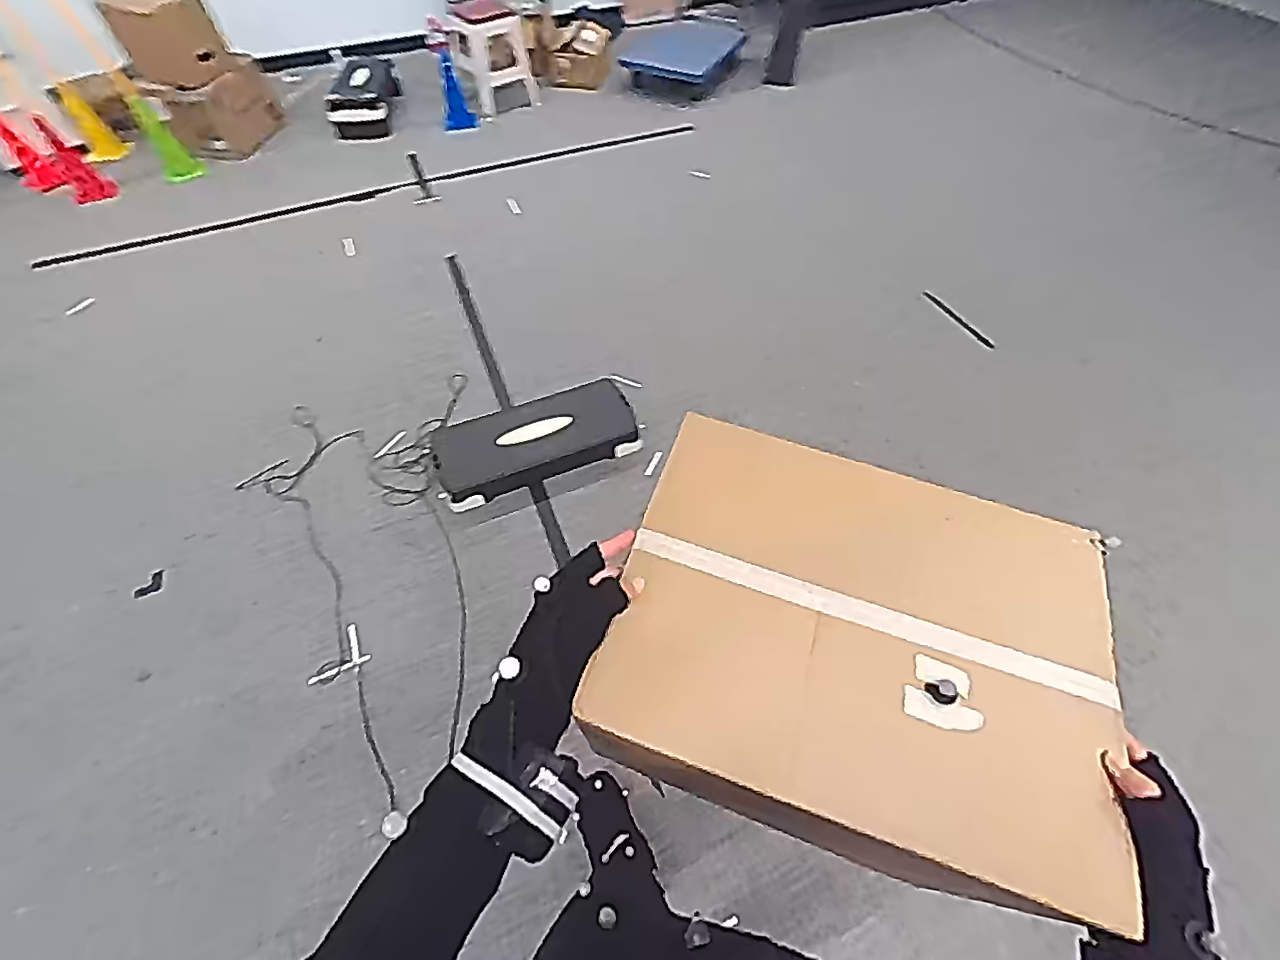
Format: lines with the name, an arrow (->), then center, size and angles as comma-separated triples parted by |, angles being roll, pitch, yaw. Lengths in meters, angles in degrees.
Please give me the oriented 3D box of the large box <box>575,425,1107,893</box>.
large box -> 0.173, 0.192, 0.601 | 0.408, 0.320, 0.320 | 16, 59, 8
